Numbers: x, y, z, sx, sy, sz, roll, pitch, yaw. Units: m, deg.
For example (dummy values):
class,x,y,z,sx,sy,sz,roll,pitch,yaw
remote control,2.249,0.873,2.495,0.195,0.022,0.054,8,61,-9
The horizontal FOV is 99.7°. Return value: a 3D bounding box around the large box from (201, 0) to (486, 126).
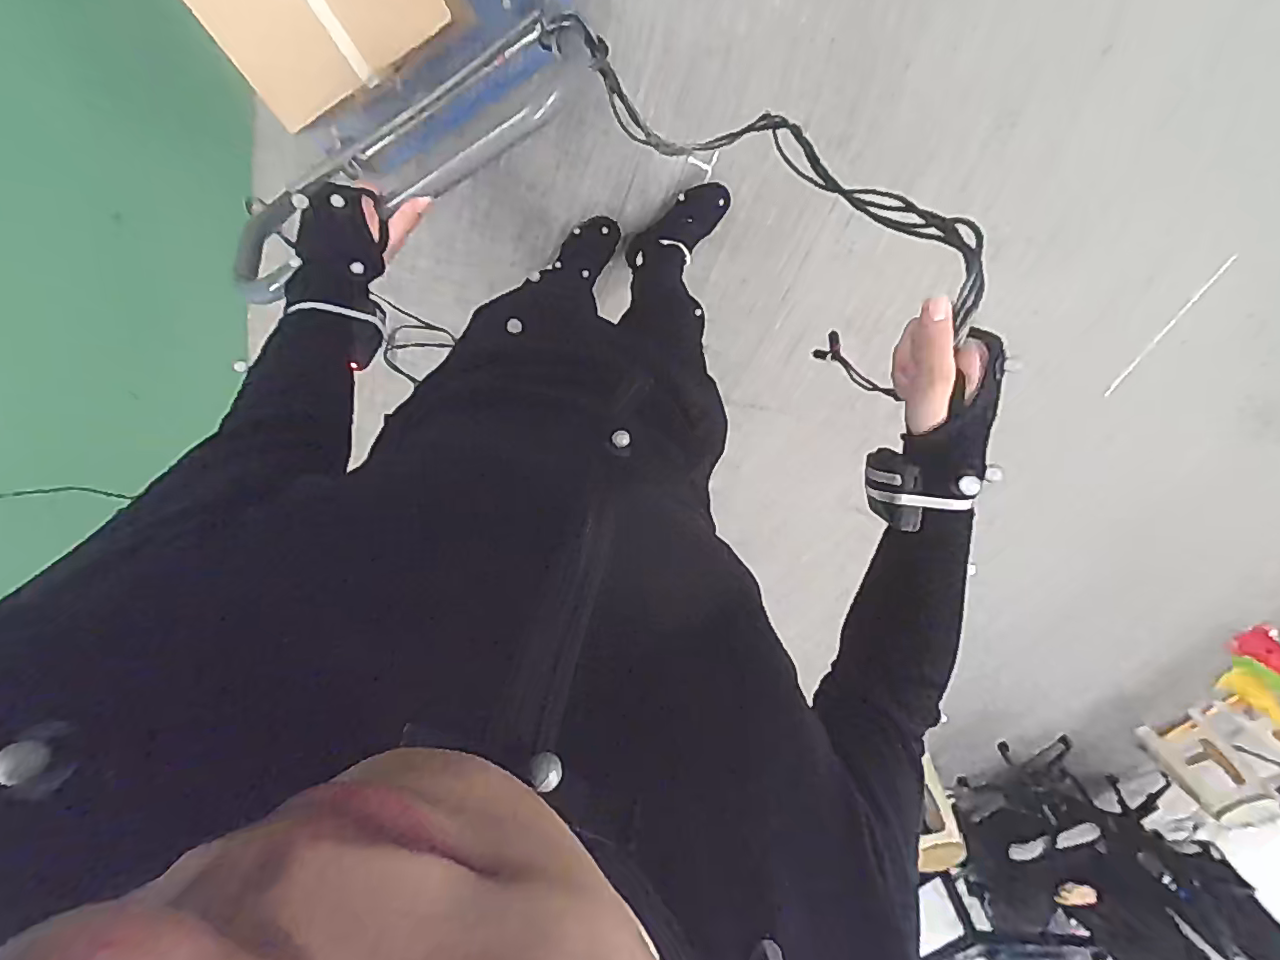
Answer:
class,x,y,z,sx,sy,sz,roll,pitch,yaw
large box,-0.491,-0.831,0.803,0.320,0.320,0.408,-25,127,12
